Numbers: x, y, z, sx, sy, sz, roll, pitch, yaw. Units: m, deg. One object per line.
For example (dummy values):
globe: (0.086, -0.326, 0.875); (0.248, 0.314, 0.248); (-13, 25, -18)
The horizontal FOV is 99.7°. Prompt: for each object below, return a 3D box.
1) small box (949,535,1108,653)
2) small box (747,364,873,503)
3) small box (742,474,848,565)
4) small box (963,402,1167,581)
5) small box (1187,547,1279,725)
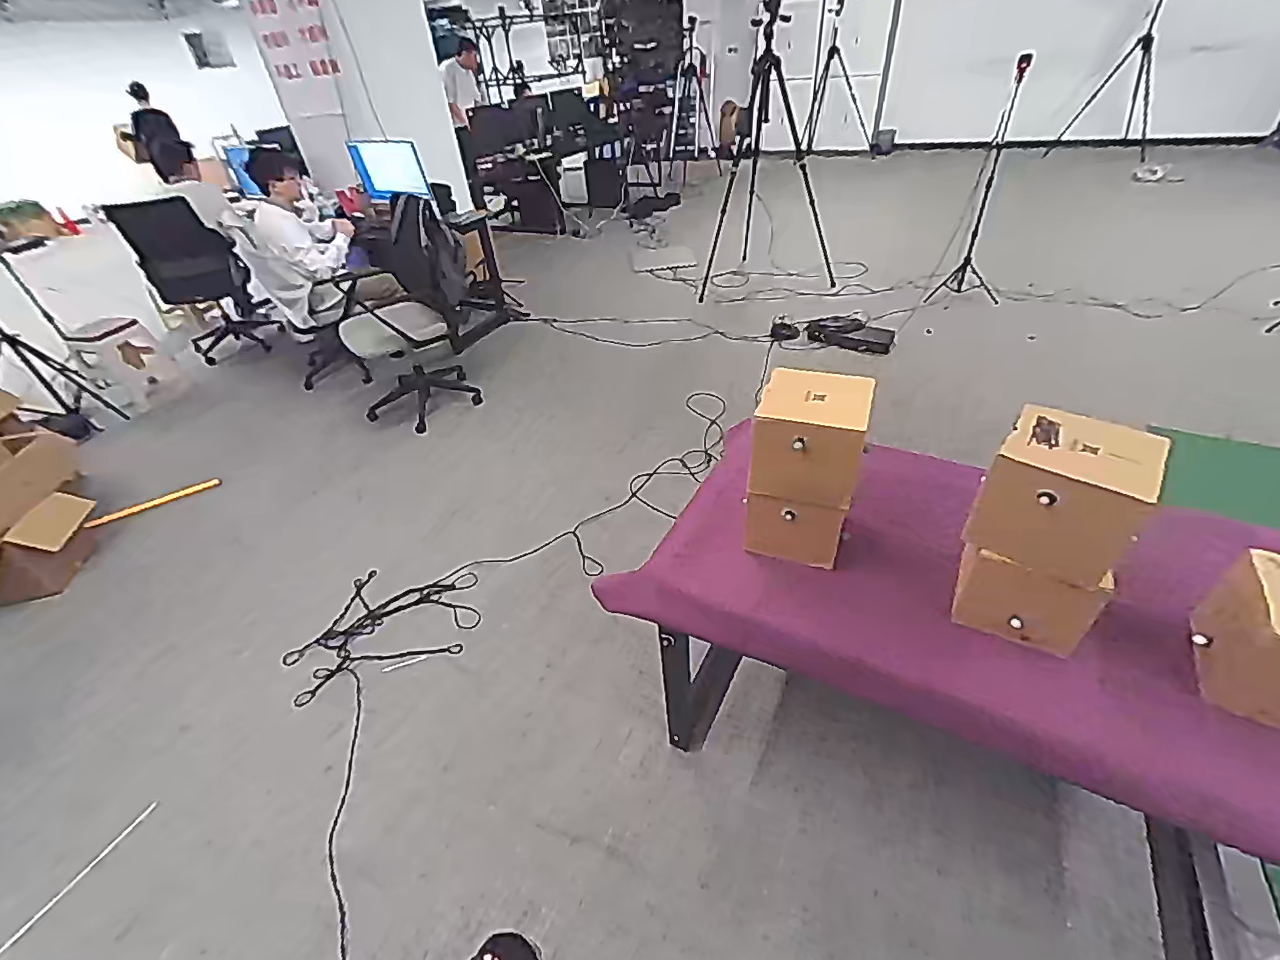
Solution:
small box: (0.626, 0.143, 0.886); (0.168, 0.176, 0.179); (17, 45, 26)
small box: (0.294, -0.081, 0.946); (0.179, 0.176, 0.168); (11, 43, 20)
small box: (0.304, 0.040, 1.053); (0.179, 0.176, 0.168); (13, 43, 21)
small box: (0.603, 0.015, 0.785); (0.179, 0.176, 0.168); (27, 49, 33)
small box: (0.907, 0.230, 0.744); (0.168, 0.176, 0.179); (19, 45, 28)
